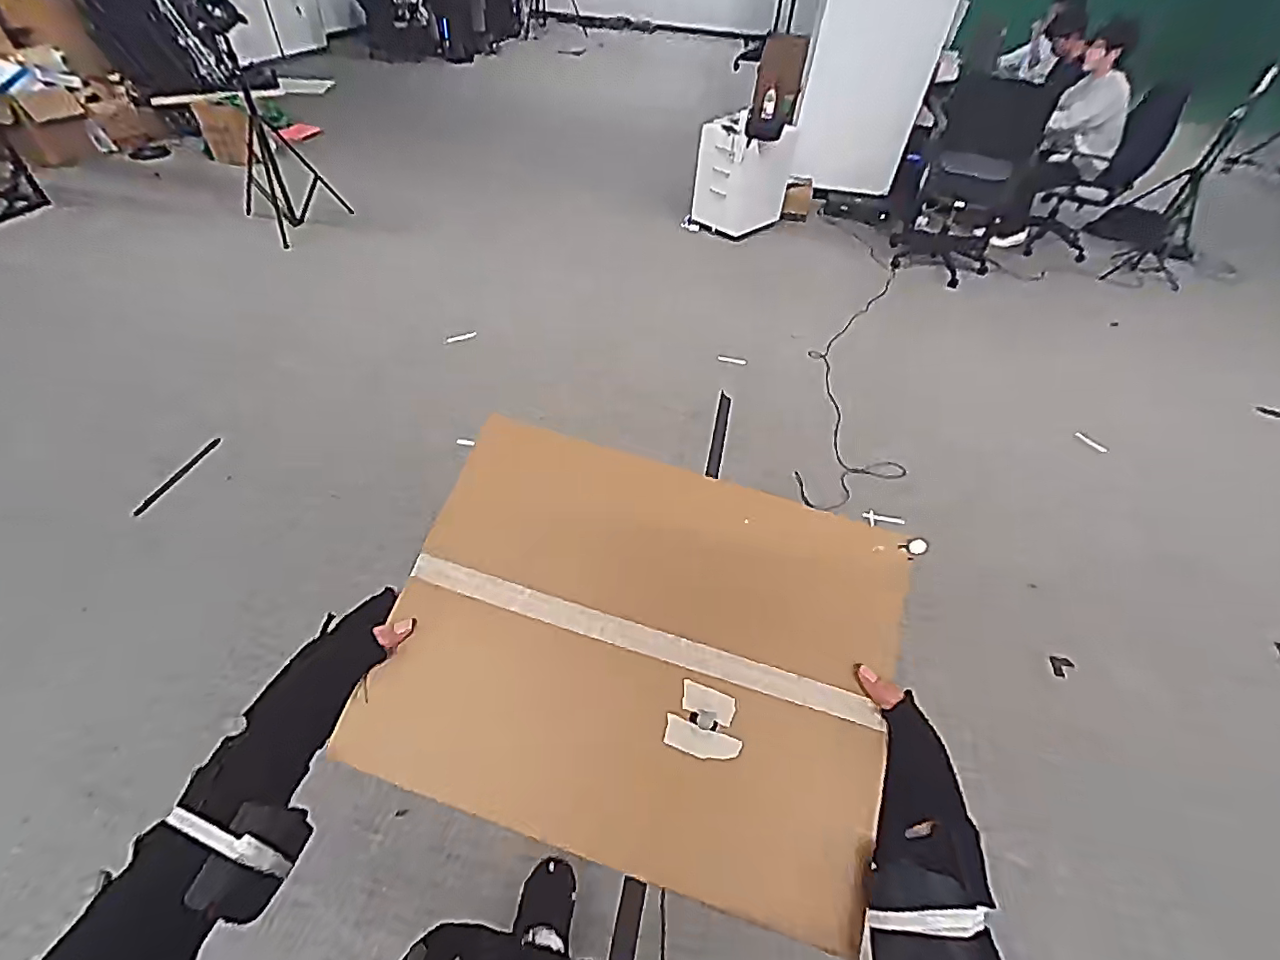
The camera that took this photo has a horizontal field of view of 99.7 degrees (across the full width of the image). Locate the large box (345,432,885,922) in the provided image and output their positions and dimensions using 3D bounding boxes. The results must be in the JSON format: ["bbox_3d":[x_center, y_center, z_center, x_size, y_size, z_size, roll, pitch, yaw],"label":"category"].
[{"bbox_3d":[-0.007,0.195,0.600,0.408,0.320,0.320,17,67,5],"label":"large box"}]
